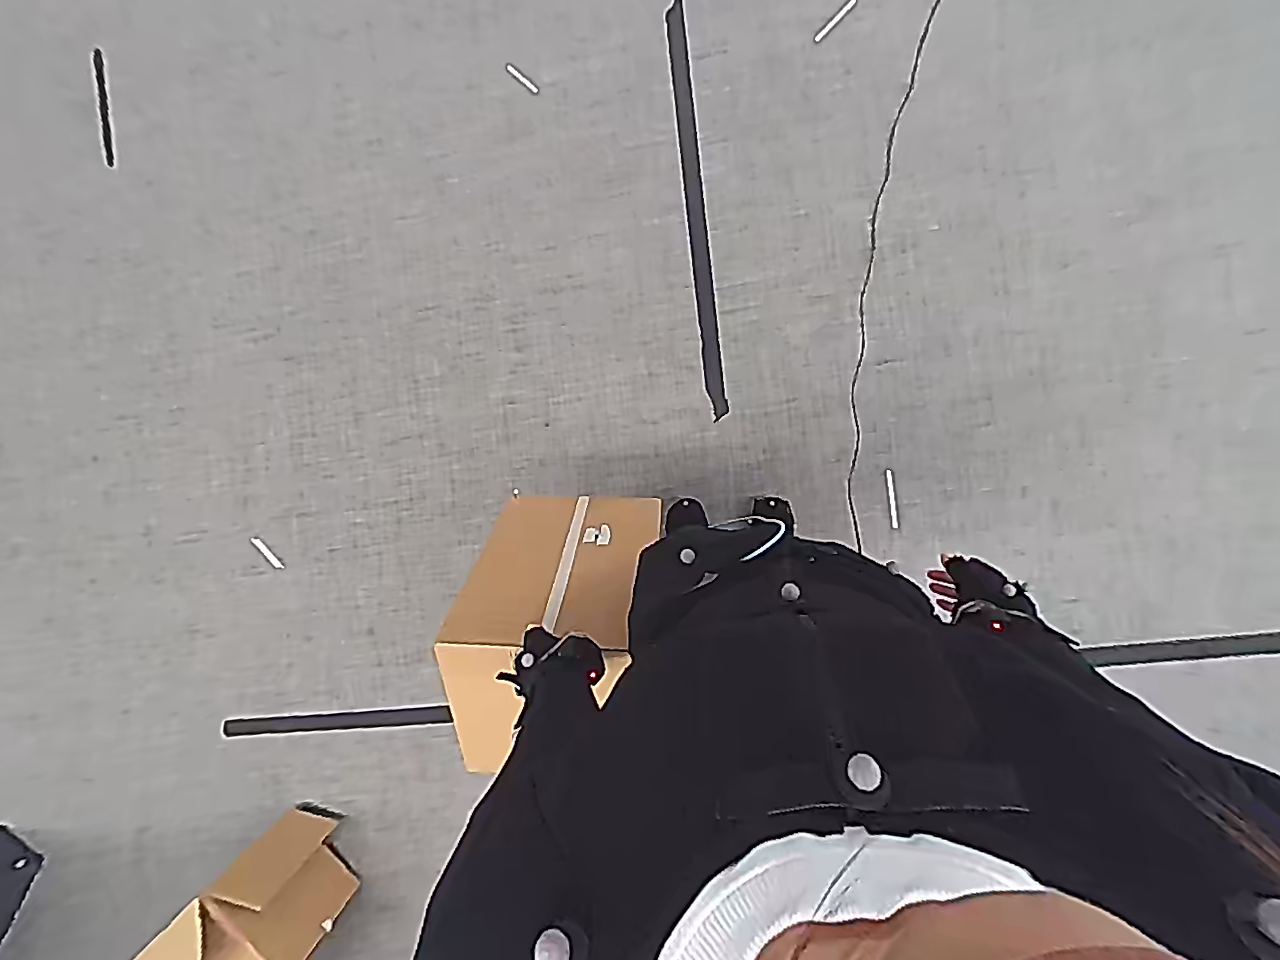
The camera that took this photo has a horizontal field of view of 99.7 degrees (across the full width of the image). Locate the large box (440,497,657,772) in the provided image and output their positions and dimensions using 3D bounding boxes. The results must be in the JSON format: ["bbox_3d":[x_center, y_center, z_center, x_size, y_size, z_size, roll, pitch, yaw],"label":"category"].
[{"bbox_3d":[-0.128,0.271,1.019,0.320,0.408,0.320,2,119,4],"label":"large box"}]
